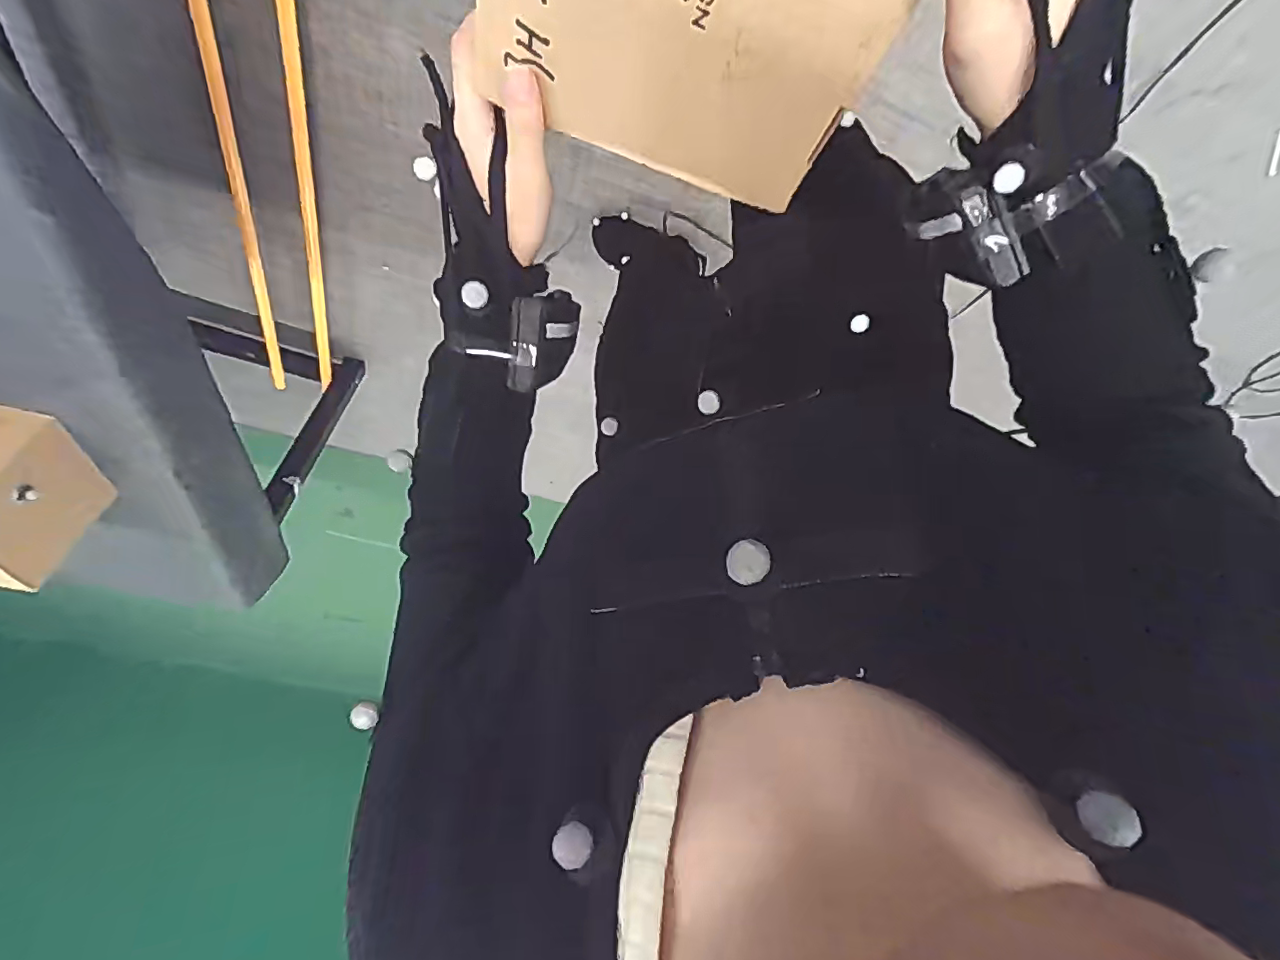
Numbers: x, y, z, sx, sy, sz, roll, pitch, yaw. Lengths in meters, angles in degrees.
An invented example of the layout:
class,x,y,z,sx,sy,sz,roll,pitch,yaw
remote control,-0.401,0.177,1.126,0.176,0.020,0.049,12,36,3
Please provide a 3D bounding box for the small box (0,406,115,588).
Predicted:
class,x,y,z,sx,sy,sz,roll,pitch,yaw
small box,-0.838,0.010,0.679,0.168,0.176,0.179,14,142,-9
